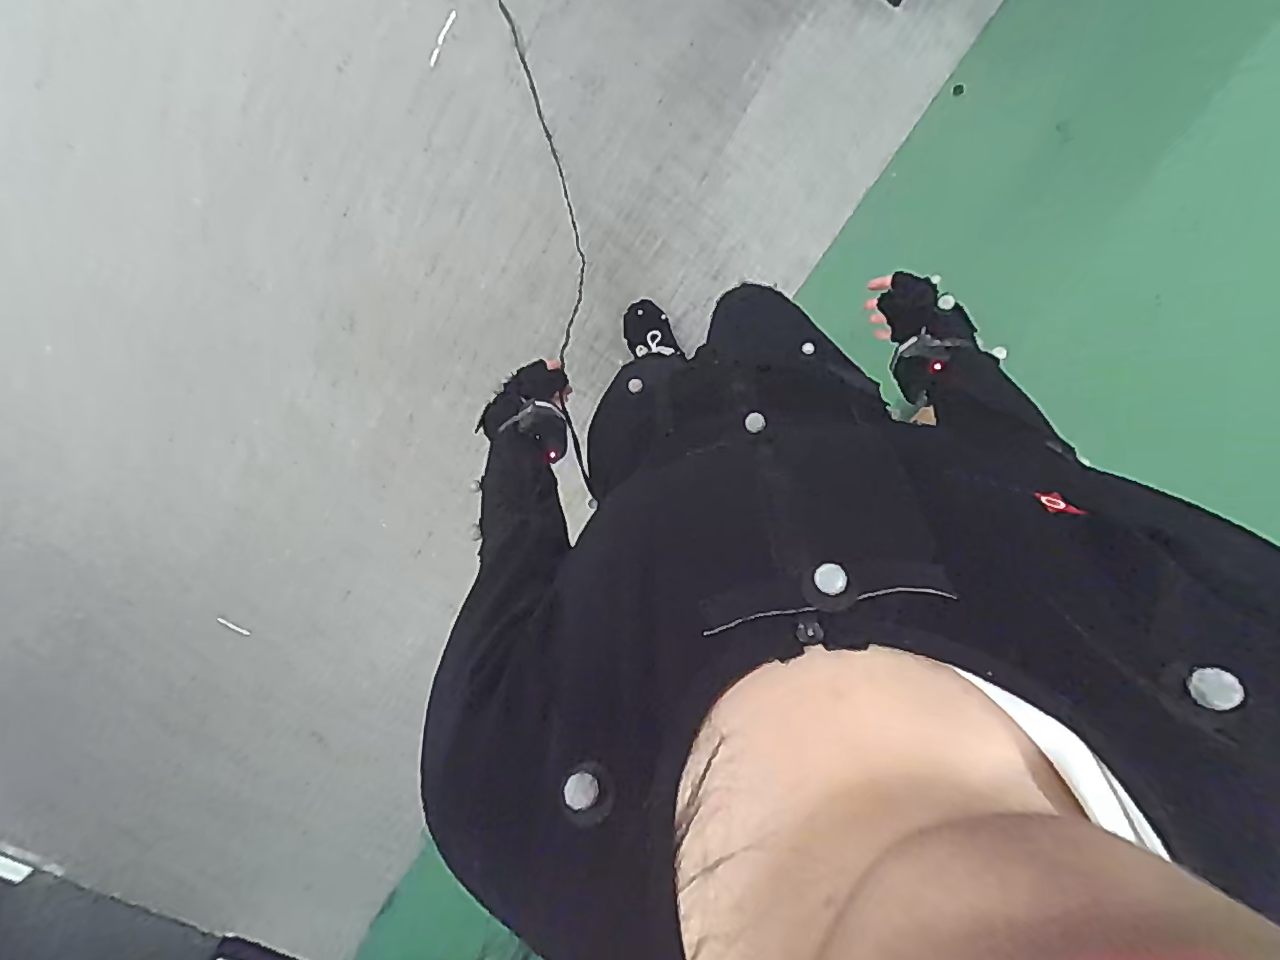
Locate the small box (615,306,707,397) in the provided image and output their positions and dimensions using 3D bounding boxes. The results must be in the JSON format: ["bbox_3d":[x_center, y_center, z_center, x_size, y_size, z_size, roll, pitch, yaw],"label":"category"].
[{"bbox_3d":[0.049,-0.324,1.347,0.179,0.176,0.168,20,120,12],"label":"small box"}]
